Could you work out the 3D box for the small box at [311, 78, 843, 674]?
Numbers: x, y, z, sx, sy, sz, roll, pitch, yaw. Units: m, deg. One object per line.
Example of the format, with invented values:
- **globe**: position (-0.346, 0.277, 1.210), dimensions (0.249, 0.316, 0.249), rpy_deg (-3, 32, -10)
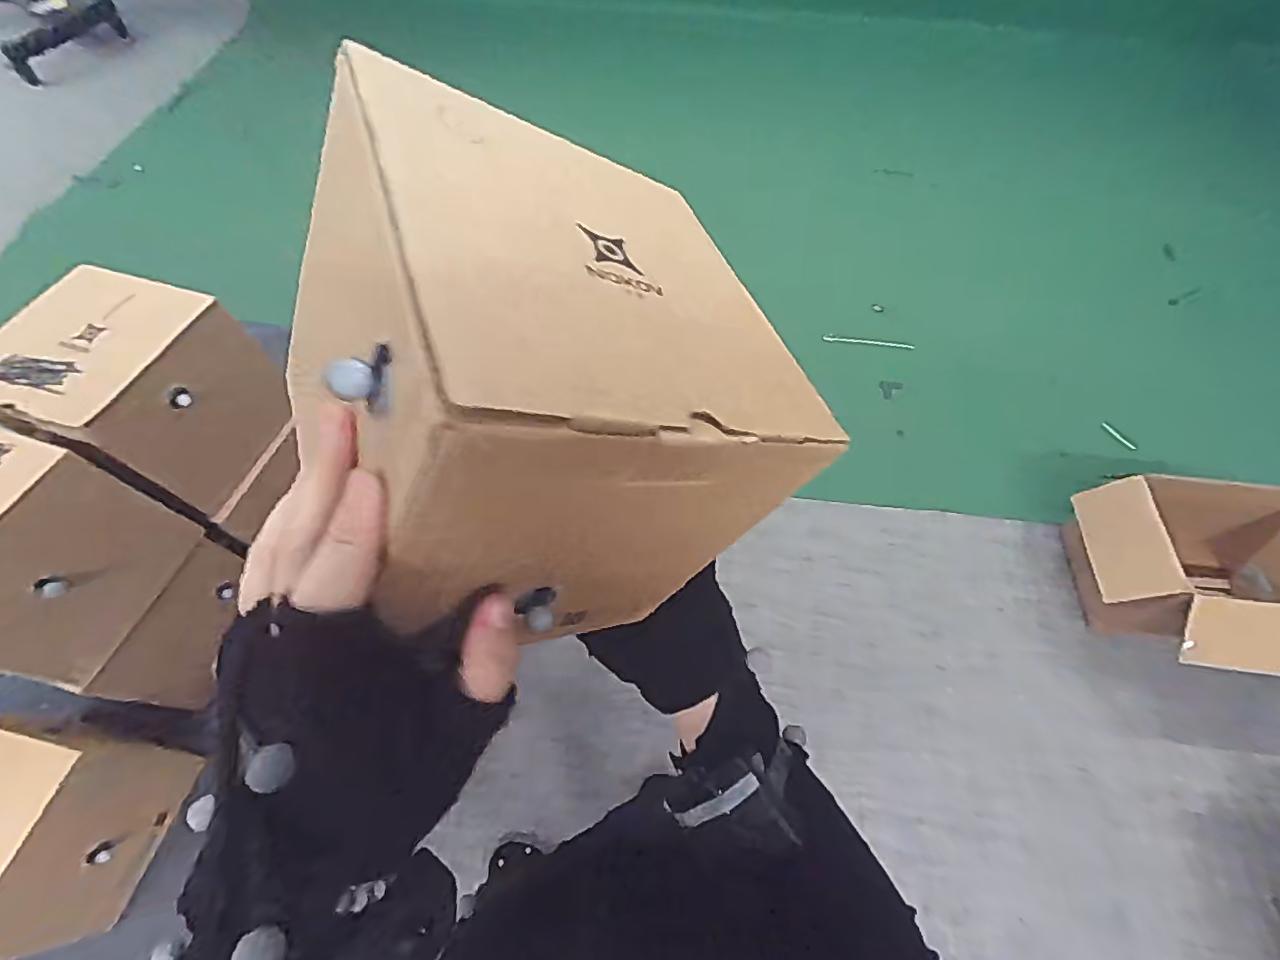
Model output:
- **small box**: position (-0.049, -0.032, 0.264), dimensions (0.168, 0.176, 0.179), rpy_deg (-1, 56, -40)
